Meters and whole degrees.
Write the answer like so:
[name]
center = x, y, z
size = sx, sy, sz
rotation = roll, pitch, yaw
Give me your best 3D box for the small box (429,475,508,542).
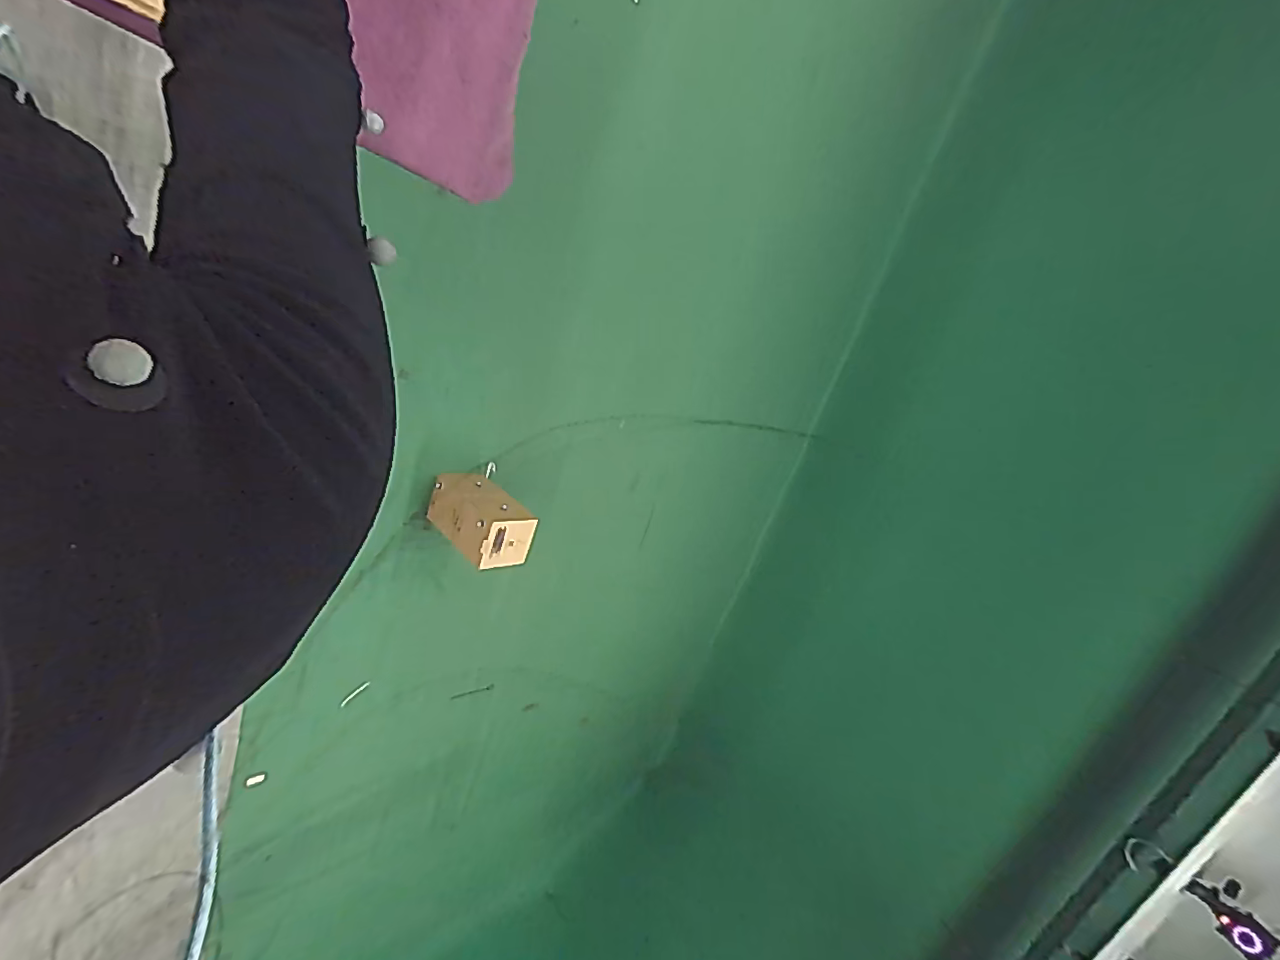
[small box]
center = -0.578, 0.091, 1.809
size = 0.179, 0.176, 0.168
rotation = 2, 115, -51
